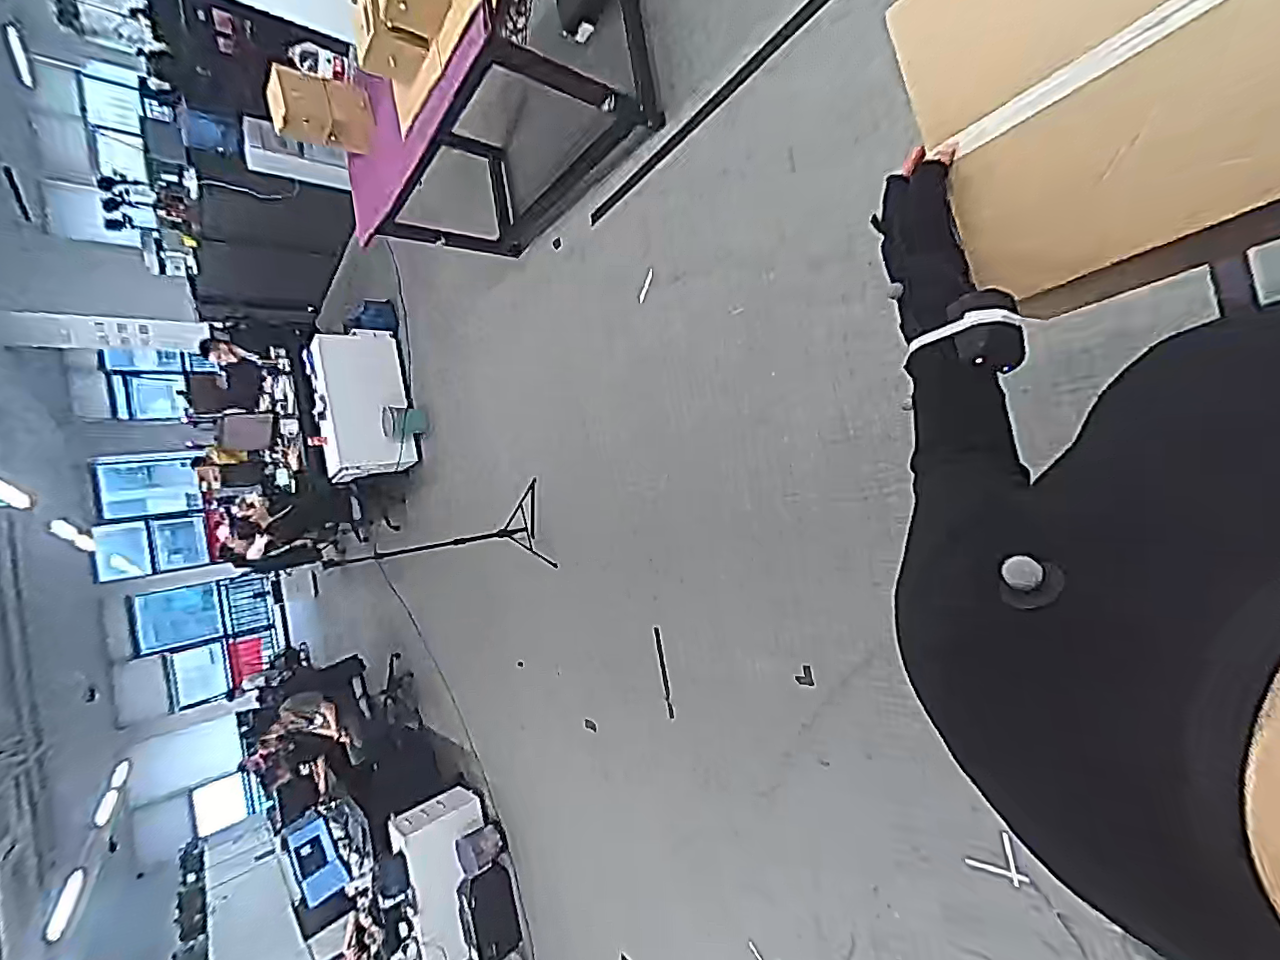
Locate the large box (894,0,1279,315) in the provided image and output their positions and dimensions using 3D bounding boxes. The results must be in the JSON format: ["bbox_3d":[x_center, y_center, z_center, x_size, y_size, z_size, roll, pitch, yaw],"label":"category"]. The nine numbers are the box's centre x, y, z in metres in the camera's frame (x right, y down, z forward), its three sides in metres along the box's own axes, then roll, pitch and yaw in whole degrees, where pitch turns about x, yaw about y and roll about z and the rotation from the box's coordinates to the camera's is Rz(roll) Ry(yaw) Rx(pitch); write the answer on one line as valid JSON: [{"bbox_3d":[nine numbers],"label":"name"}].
[{"bbox_3d":[0.526,-0.384,0.496,0.408,0.320,0.320,-18,88,46],"label":"large box"}]
